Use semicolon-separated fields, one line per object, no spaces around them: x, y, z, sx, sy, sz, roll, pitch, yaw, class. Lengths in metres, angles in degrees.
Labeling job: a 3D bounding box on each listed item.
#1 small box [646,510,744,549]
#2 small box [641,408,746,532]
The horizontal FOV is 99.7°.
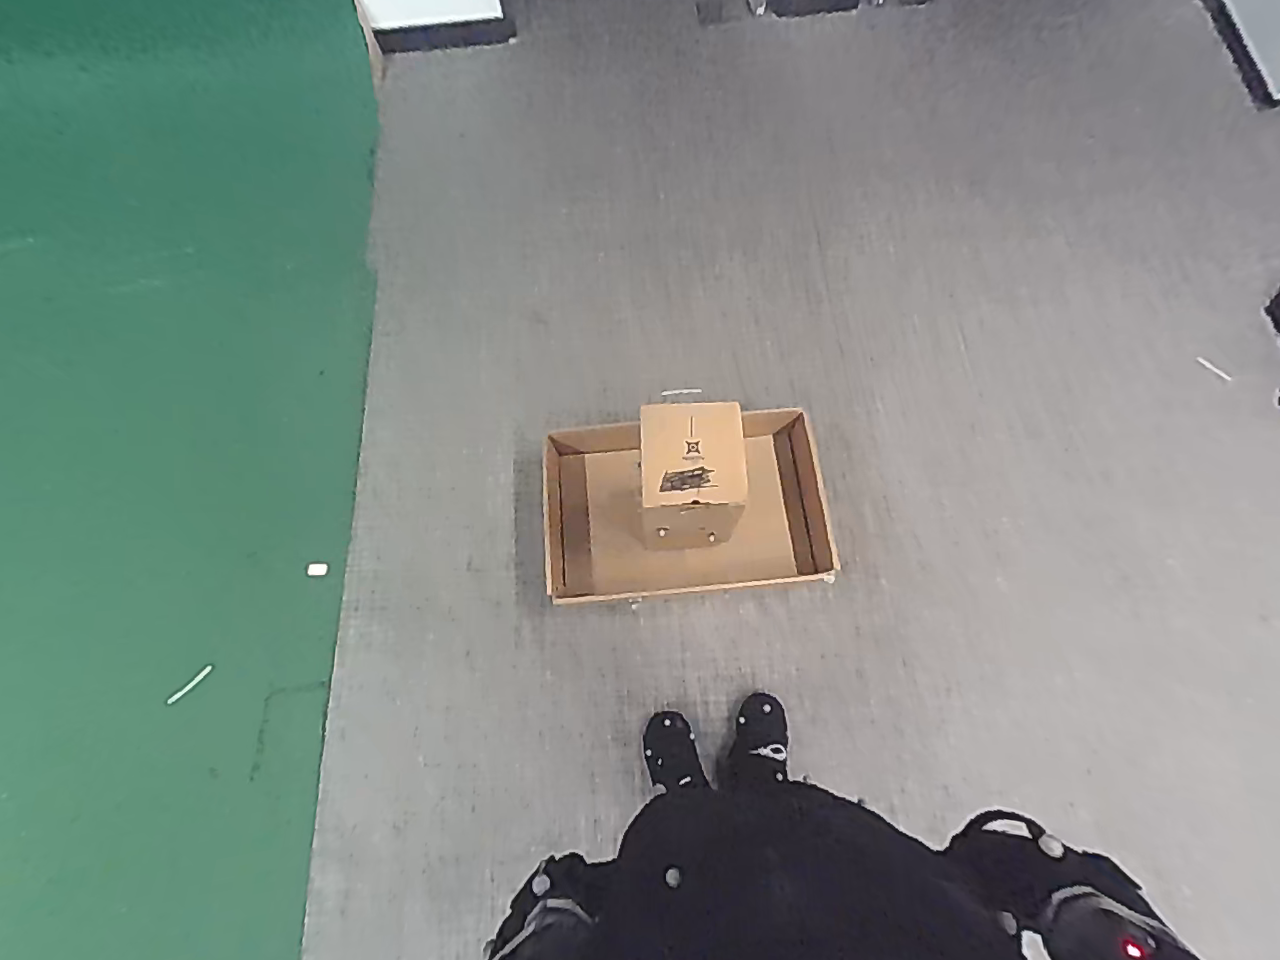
0.097;0.037;1.075;0.179;0.176;0.168;-6;71;0;small box
0.087;-0.009;0.934;0.168;0.176;0.179;-2;70;1;small box
